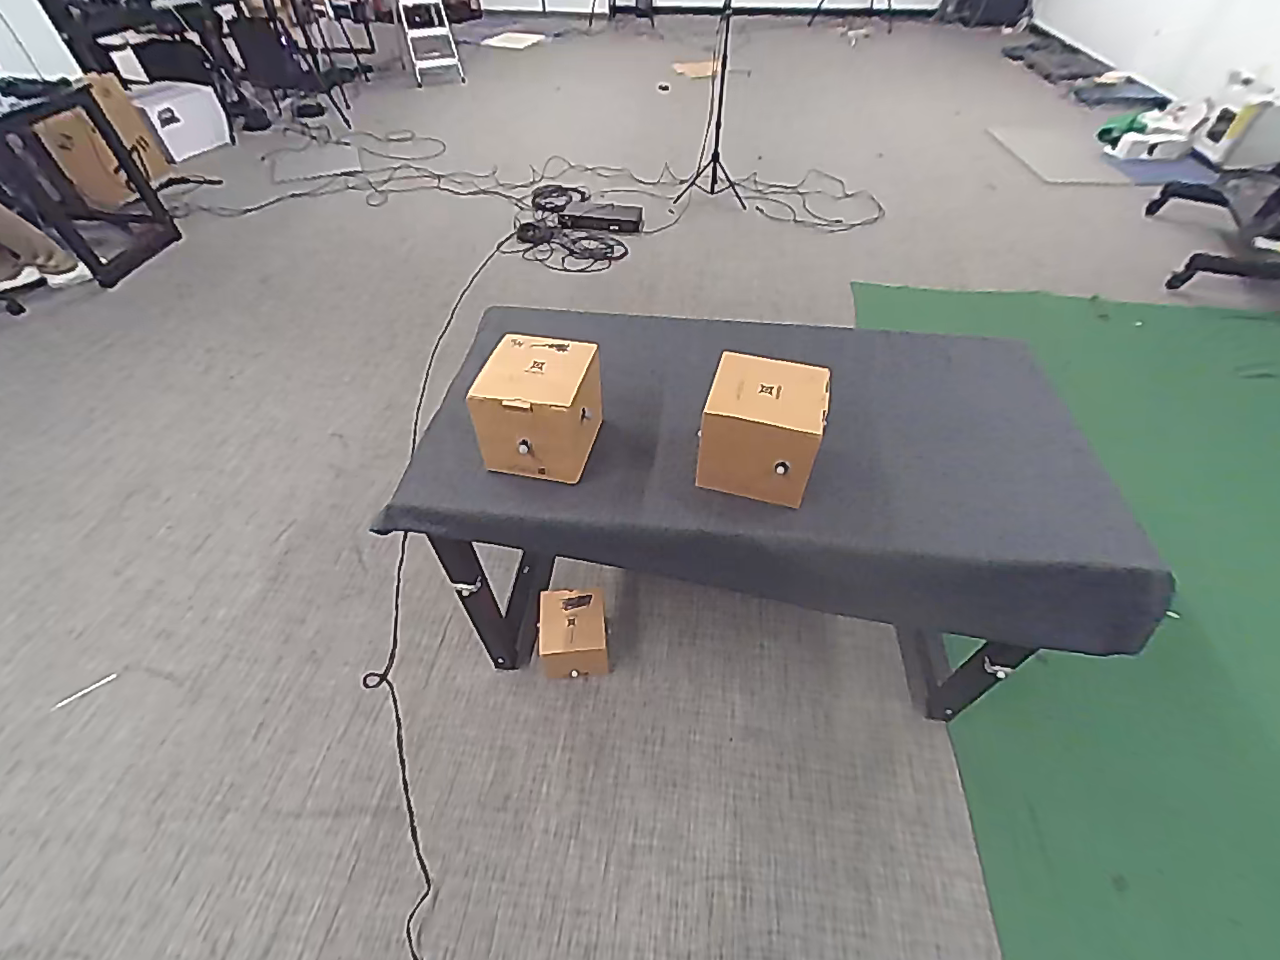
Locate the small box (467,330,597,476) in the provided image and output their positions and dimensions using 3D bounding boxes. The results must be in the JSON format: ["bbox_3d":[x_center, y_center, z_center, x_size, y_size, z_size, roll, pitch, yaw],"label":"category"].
[{"bbox_3d":[-0.171,-0.129,0.927,0.168,0.176,0.179,9,49,6],"label":"small box"}]

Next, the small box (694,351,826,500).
[{"bbox_3d":[0.195,-0.088,0.899,0.179,0.176,0.168,12,48,11],"label":"small box"}]
